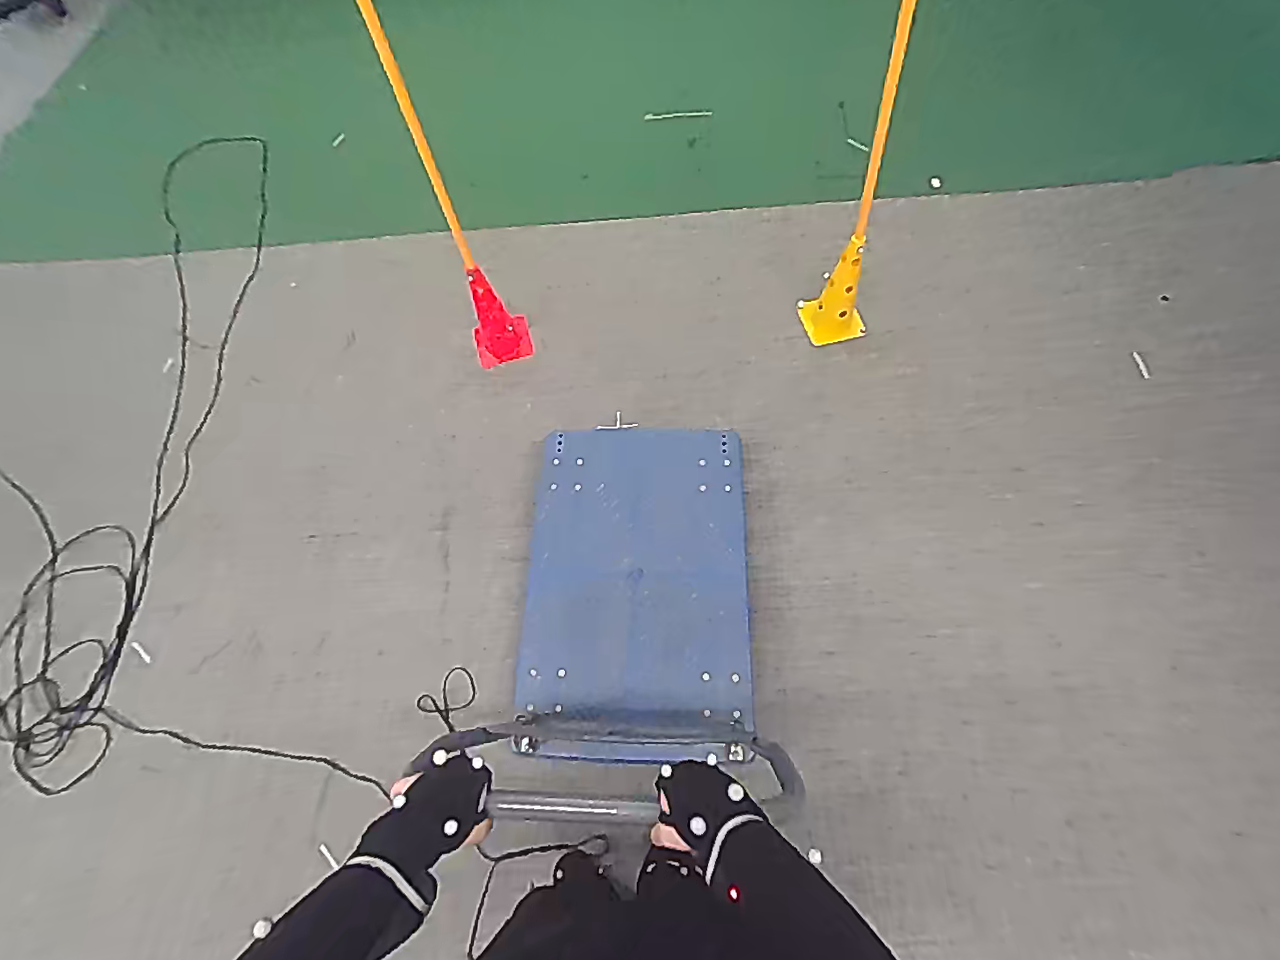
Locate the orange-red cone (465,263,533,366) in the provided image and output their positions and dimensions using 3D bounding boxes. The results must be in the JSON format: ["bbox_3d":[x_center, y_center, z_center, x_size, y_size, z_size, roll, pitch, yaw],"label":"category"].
[{"bbox_3d":[-0.513,-0.583,1.830,0.199,0.360,0.198,-17,64,-2],"label":"orange-red cone"}]
